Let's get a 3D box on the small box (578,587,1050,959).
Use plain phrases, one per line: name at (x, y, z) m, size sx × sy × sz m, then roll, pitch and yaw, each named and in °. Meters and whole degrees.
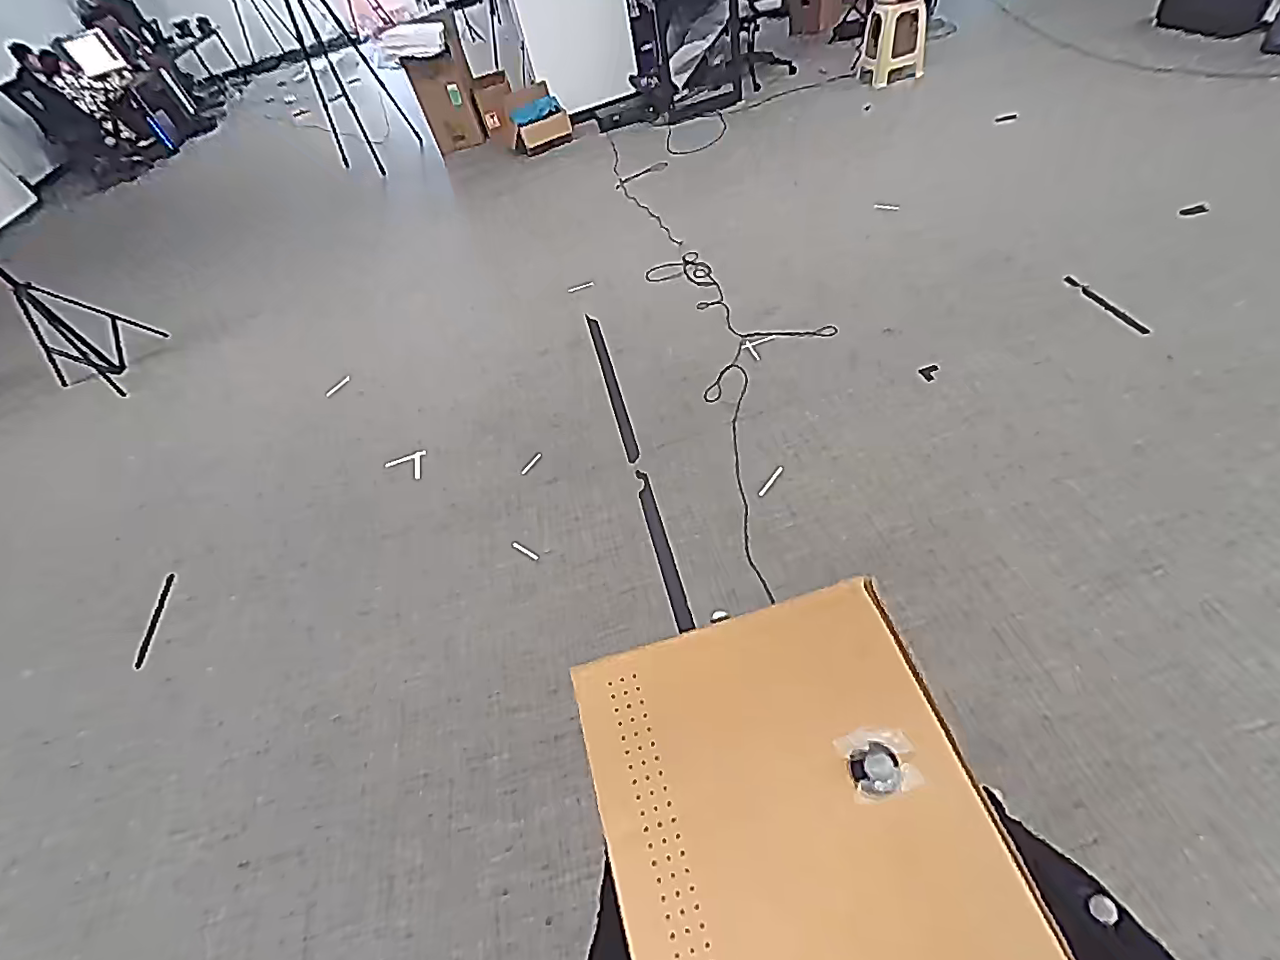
small box at (0.071, 0.192, 0.319) m, size 0.176 × 0.168 × 0.179 m, roll -17°, pitch 60°, yaw -3°
